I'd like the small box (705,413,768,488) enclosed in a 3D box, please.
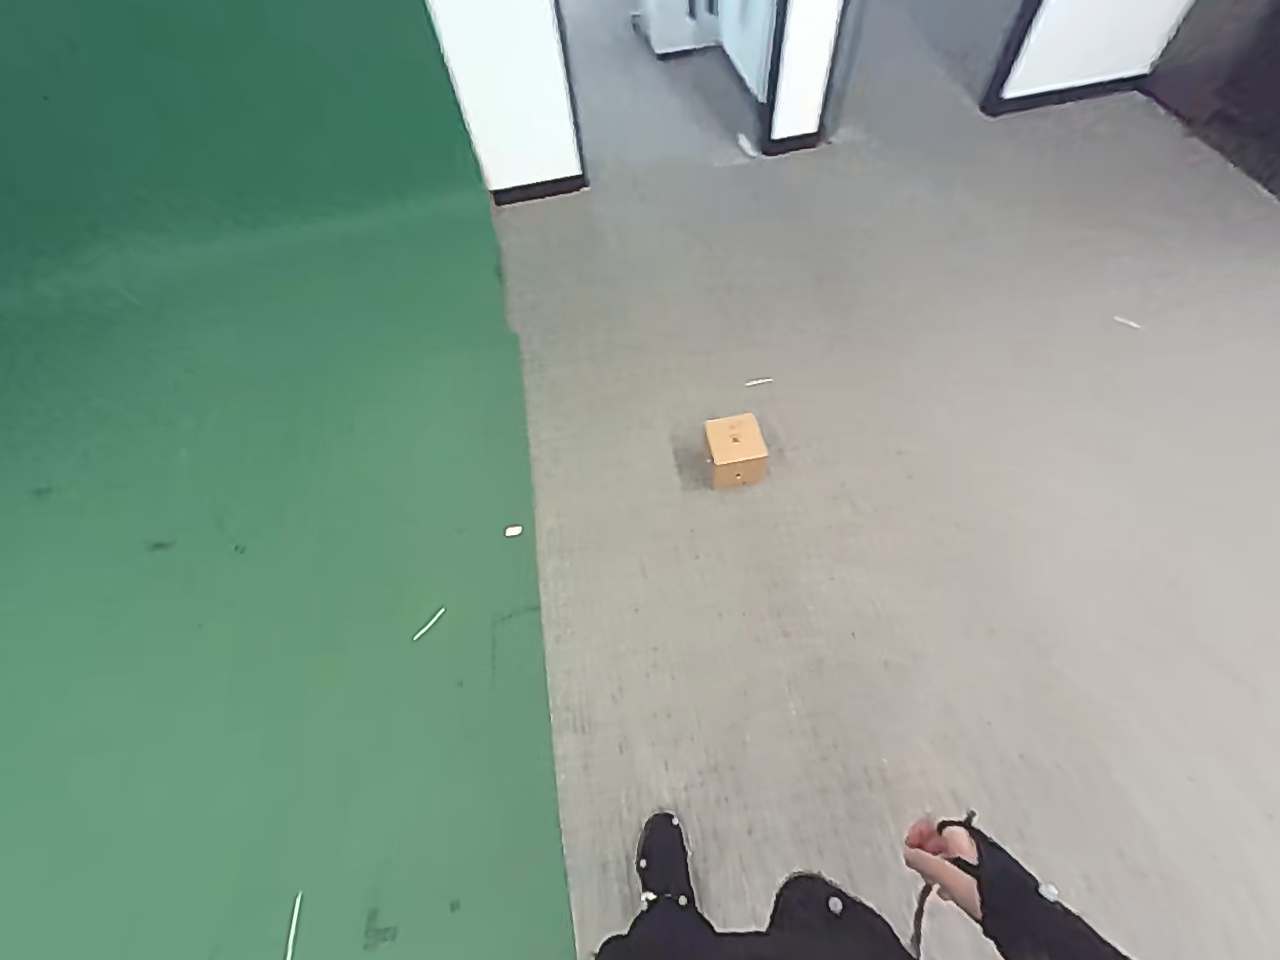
[{"bbox_3d":[0.311,-0.089,1.772,0.168,0.176,0.179,-10,58,-1],"label":"small box"}]
